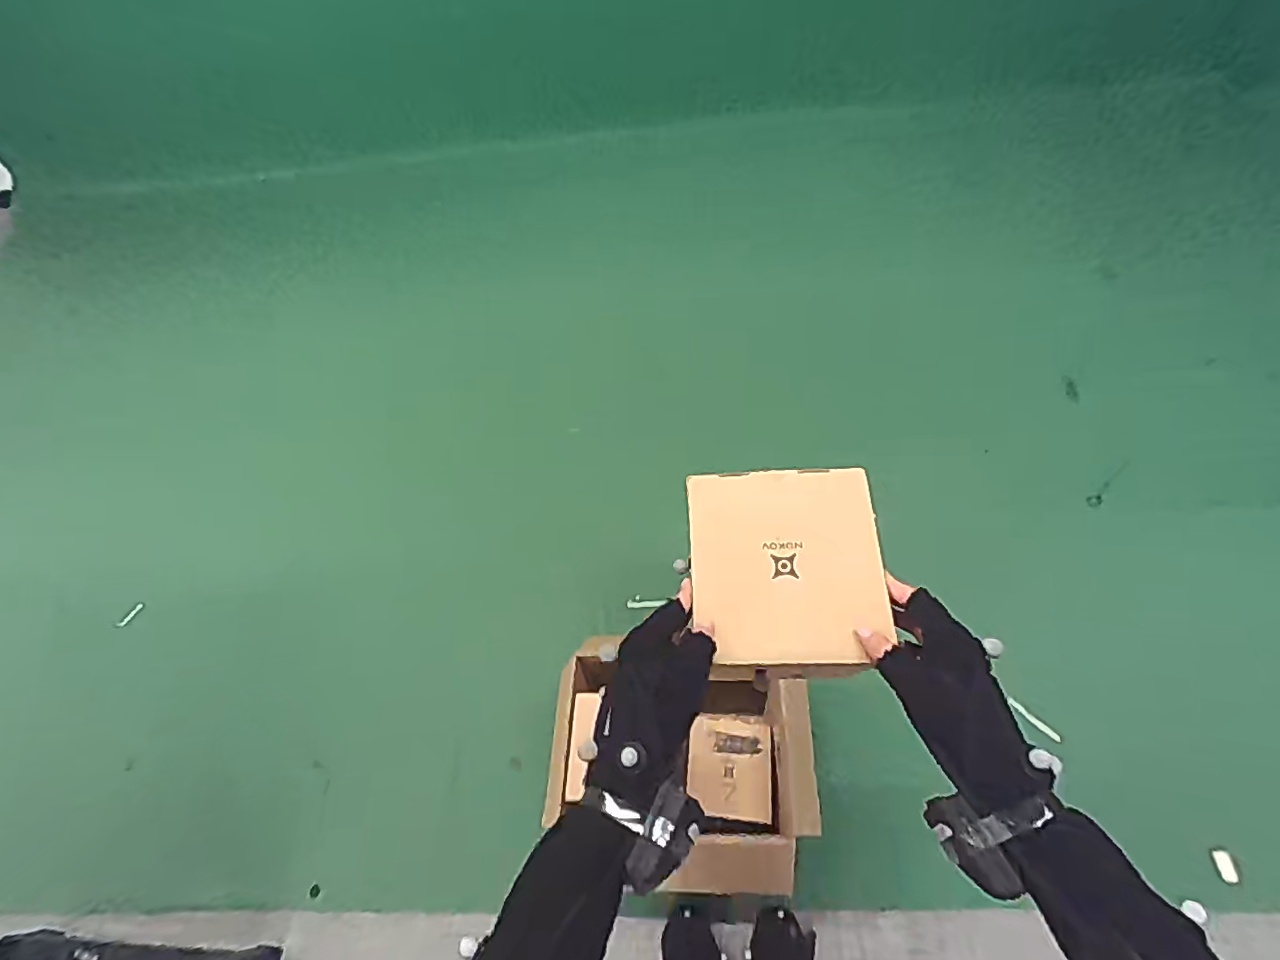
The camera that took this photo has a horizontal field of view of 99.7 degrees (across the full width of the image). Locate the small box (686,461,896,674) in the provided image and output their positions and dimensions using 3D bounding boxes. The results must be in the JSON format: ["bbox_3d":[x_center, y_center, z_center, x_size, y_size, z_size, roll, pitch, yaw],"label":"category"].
[{"bbox_3d":[0.133,0.097,0.538,0.168,0.176,0.179,-2,66,6],"label":"small box"}]
